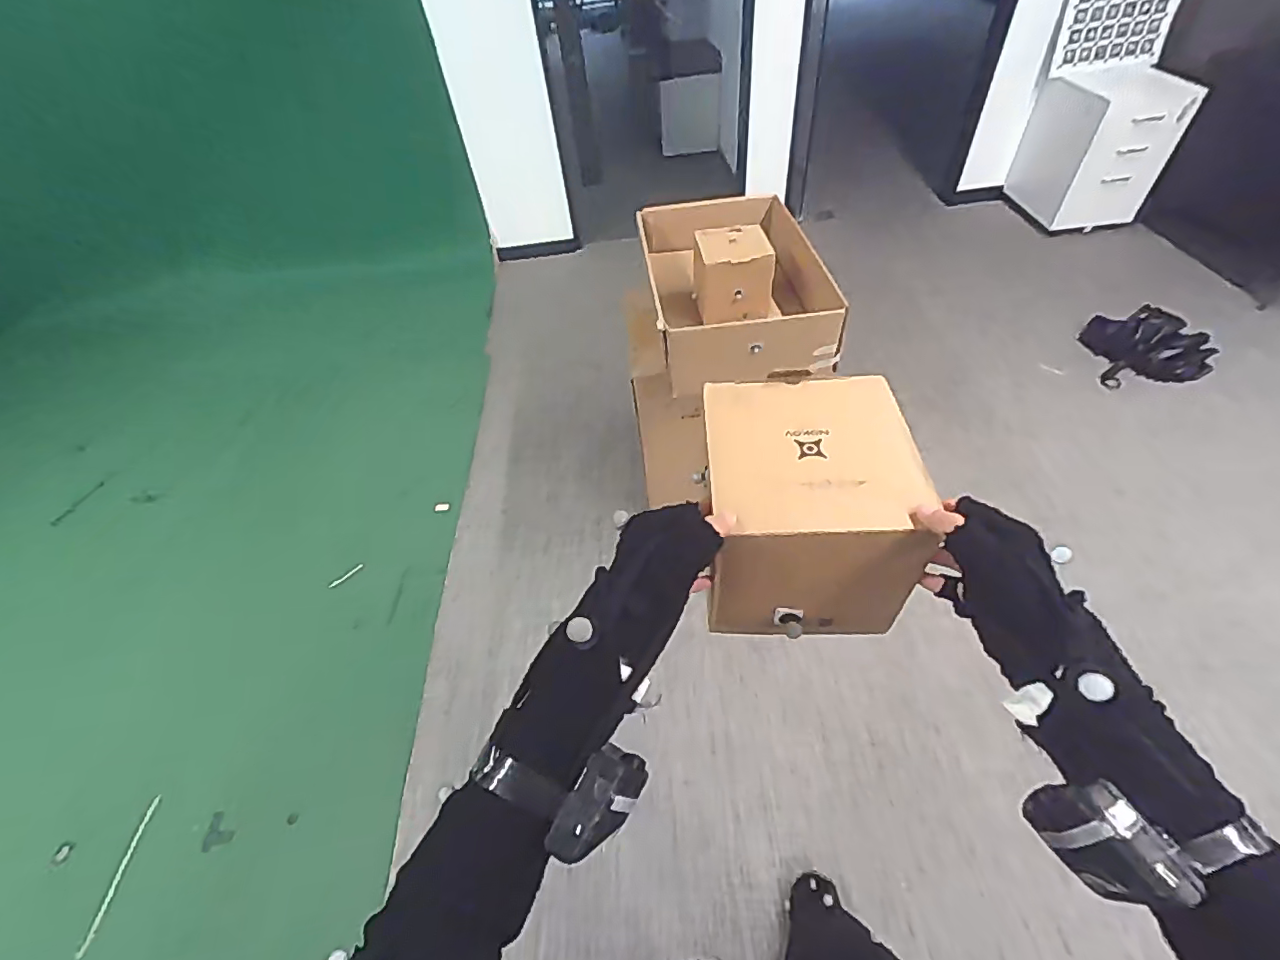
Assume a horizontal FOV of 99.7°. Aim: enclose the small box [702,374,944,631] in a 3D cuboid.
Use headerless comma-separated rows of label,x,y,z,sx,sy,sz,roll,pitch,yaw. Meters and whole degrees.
small box,0.144,0.021,0.505,0.168,0.176,0.179,-1,48,4
